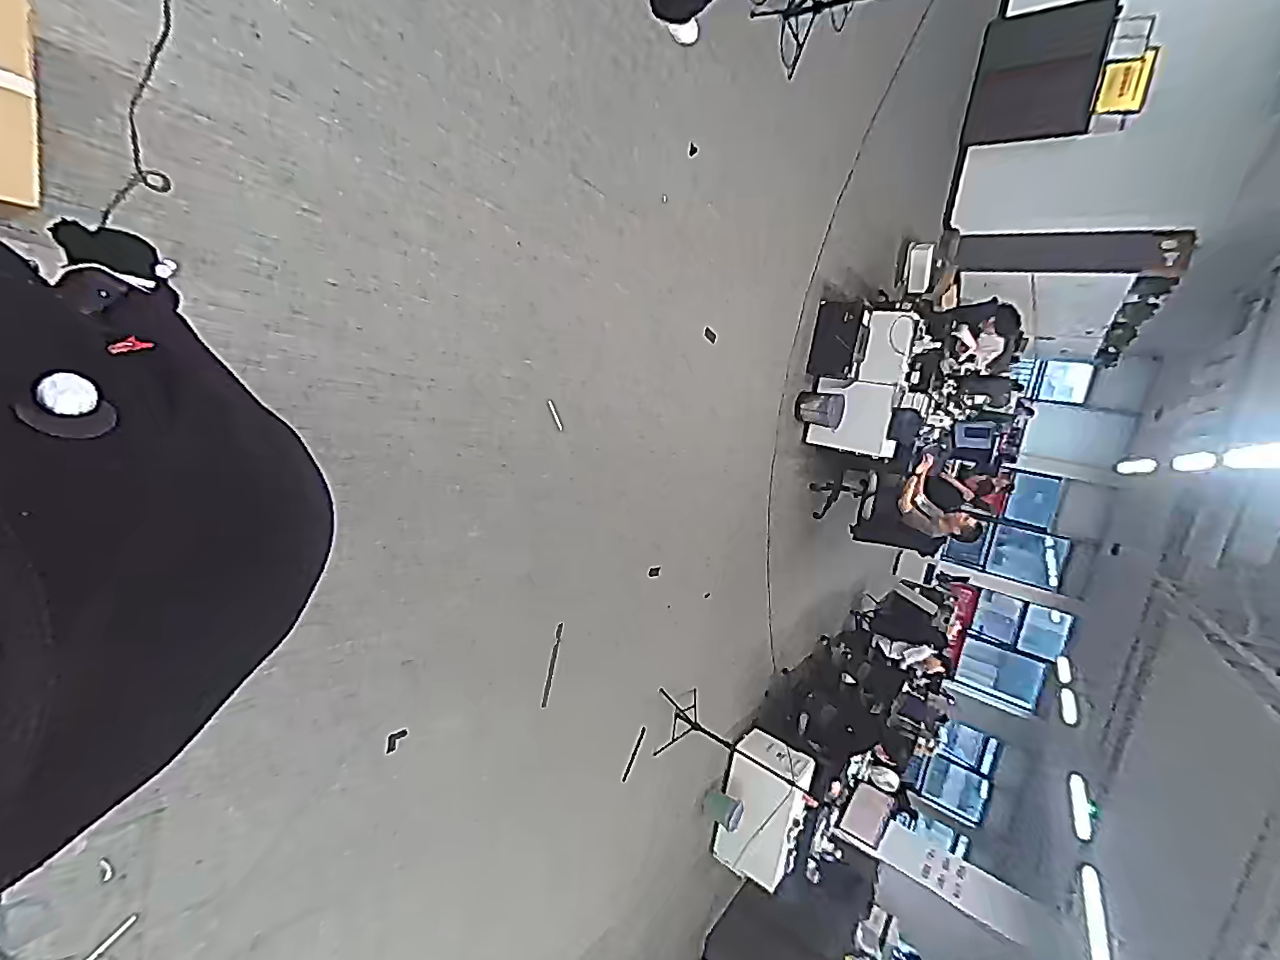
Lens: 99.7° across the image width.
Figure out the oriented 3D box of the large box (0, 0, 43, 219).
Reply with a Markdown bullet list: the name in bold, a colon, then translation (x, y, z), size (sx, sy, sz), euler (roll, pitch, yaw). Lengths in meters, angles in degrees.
- **large box**: translation (-1.089, -0.560, 0.685), size (0.408, 0.320, 0.320), euler (-6, 108, -54)
